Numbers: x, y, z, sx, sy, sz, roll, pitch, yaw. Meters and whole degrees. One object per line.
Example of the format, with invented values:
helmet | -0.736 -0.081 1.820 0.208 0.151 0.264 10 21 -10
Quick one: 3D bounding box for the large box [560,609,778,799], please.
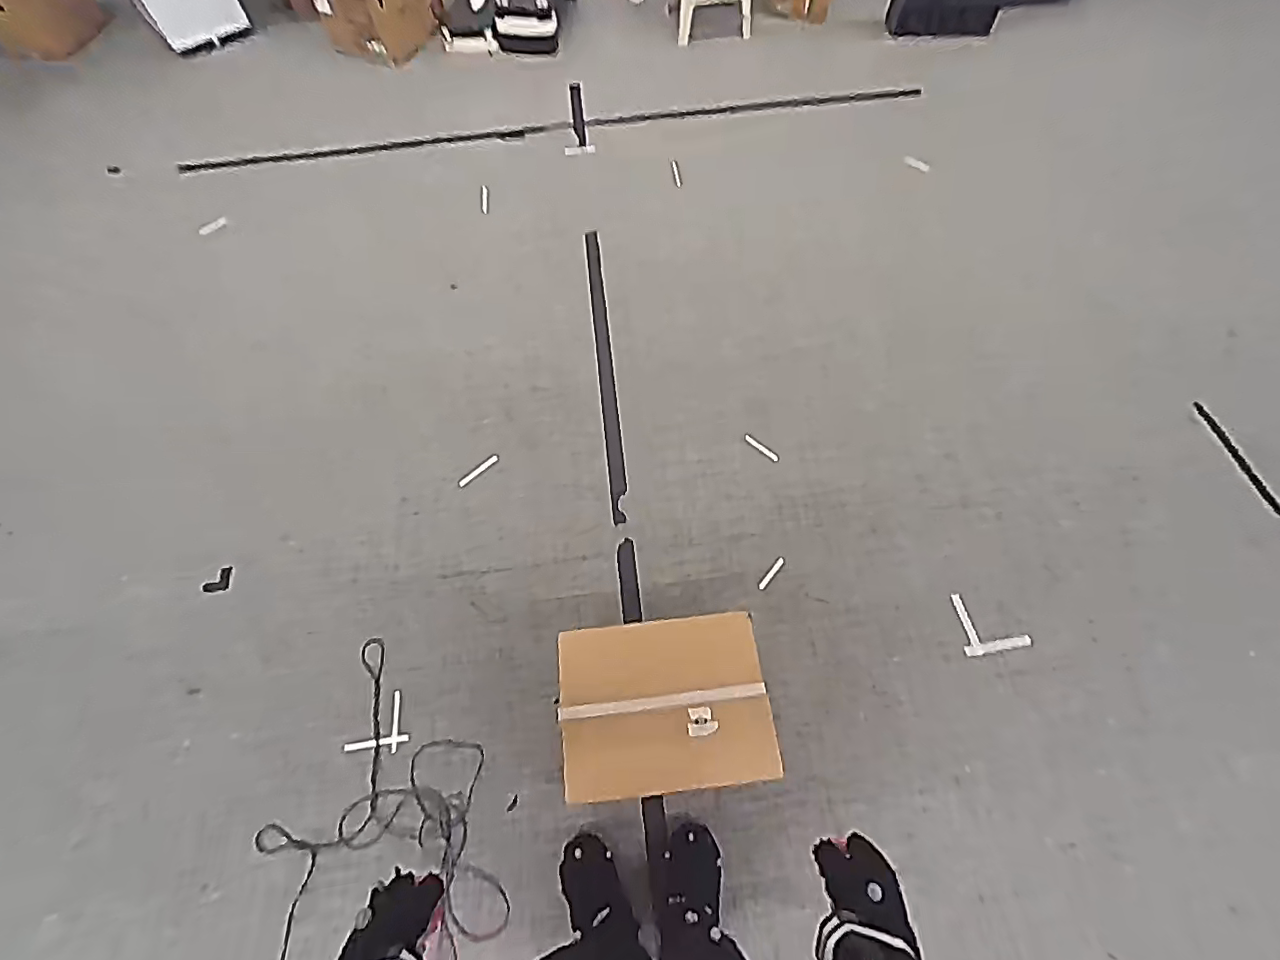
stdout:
large box | 0.047 0.501 1.204 0.408 0.320 0.320 -6 63 -3
